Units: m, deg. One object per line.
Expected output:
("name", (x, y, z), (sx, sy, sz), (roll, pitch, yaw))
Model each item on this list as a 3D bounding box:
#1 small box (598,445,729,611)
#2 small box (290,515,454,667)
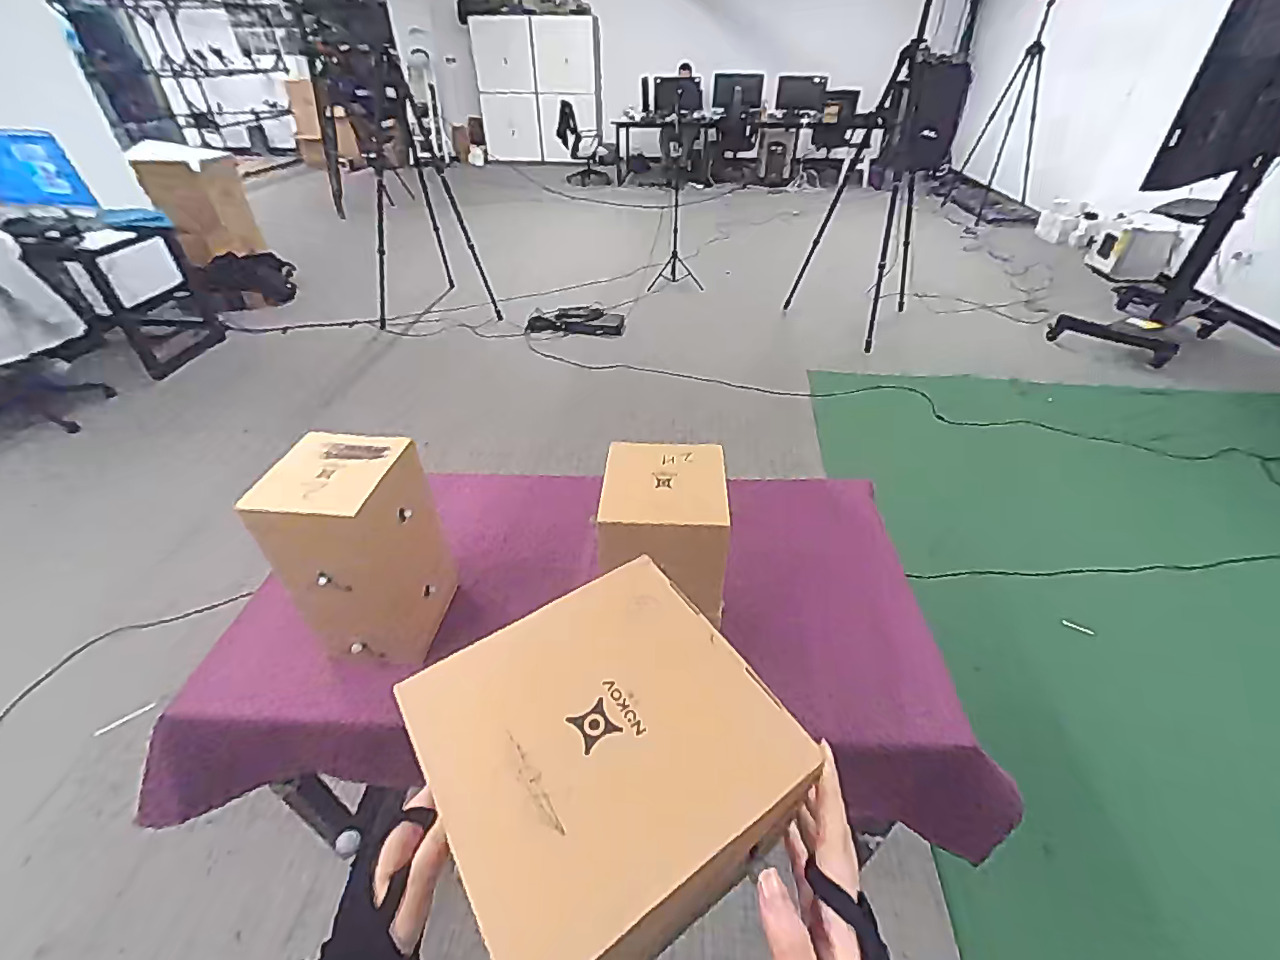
("small box", (0.036, 0.068, 0.772), (0.168, 0.176, 0.179), (2, 38, 3))
("small box", (-0.425, 0.181, 0.898), (0.168, 0.176, 0.179), (3, 40, 4))
